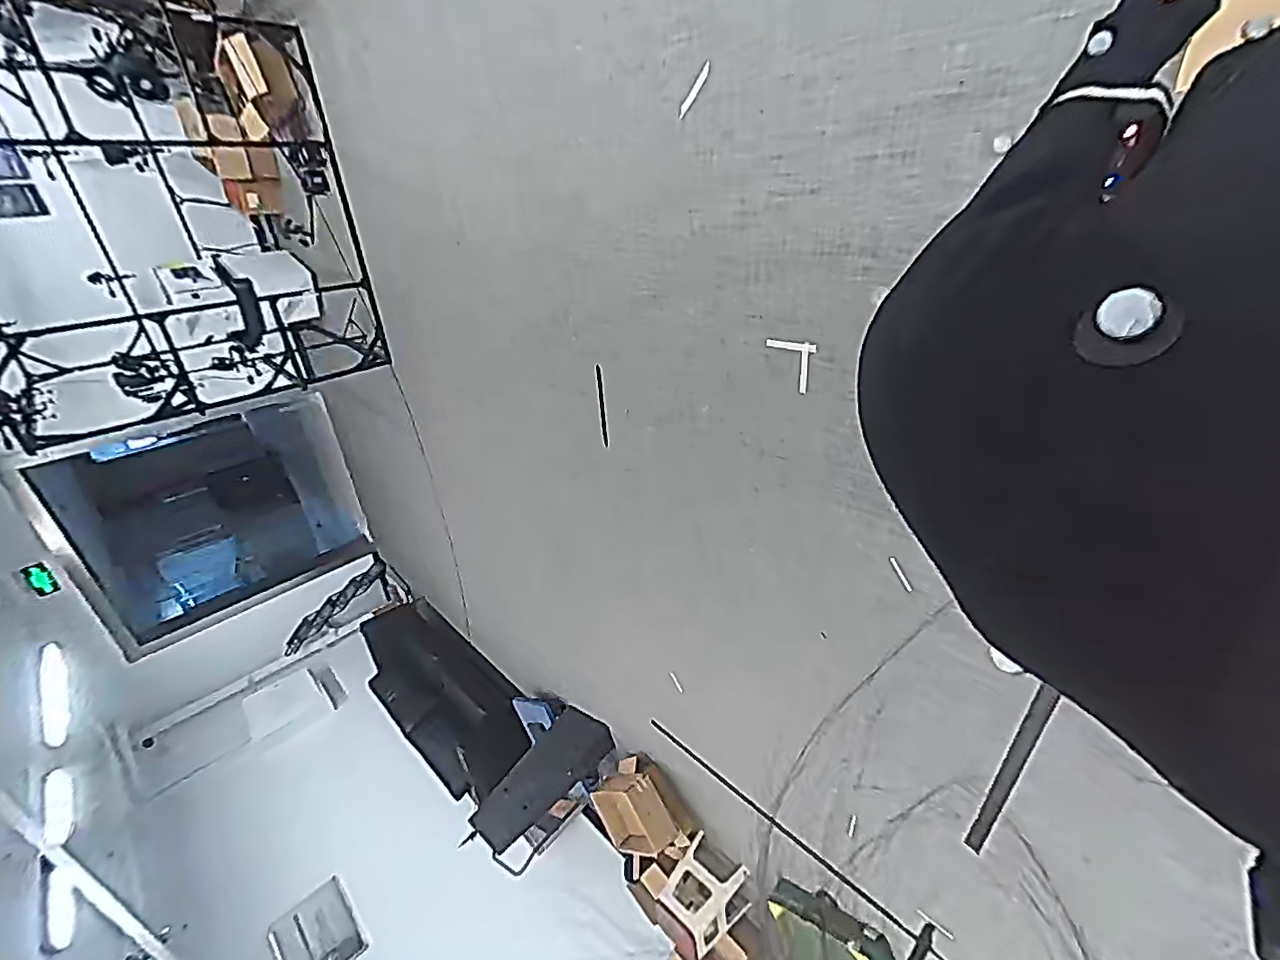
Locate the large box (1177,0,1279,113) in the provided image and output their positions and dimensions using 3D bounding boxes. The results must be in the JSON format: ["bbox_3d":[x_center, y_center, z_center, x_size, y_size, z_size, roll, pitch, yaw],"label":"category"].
[{"bbox_3d":[0.991,-0.679,0.666,0.408,0.320,0.320,21,126,40],"label":"large box"}]
